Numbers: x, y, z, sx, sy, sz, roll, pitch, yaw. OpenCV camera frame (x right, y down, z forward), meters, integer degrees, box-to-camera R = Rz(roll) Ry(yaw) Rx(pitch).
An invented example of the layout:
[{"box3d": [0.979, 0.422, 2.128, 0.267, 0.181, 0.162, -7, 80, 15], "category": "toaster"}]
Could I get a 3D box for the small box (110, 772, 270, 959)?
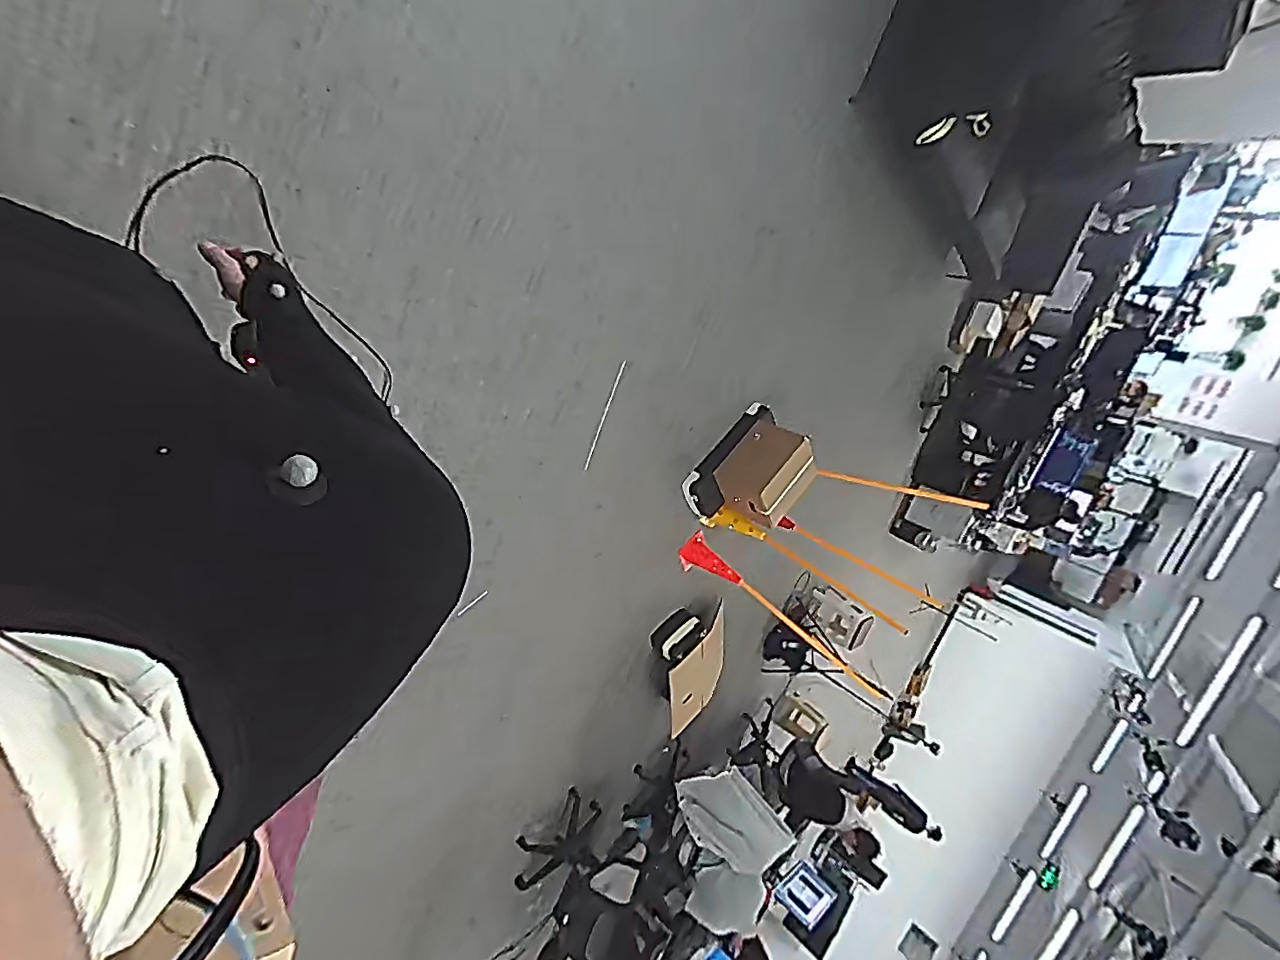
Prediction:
[{"box3d": [-0.721, 0.615, 0.863, 0.168, 0.176, 0.179, 6, 107, -49], "category": "small box"}]
